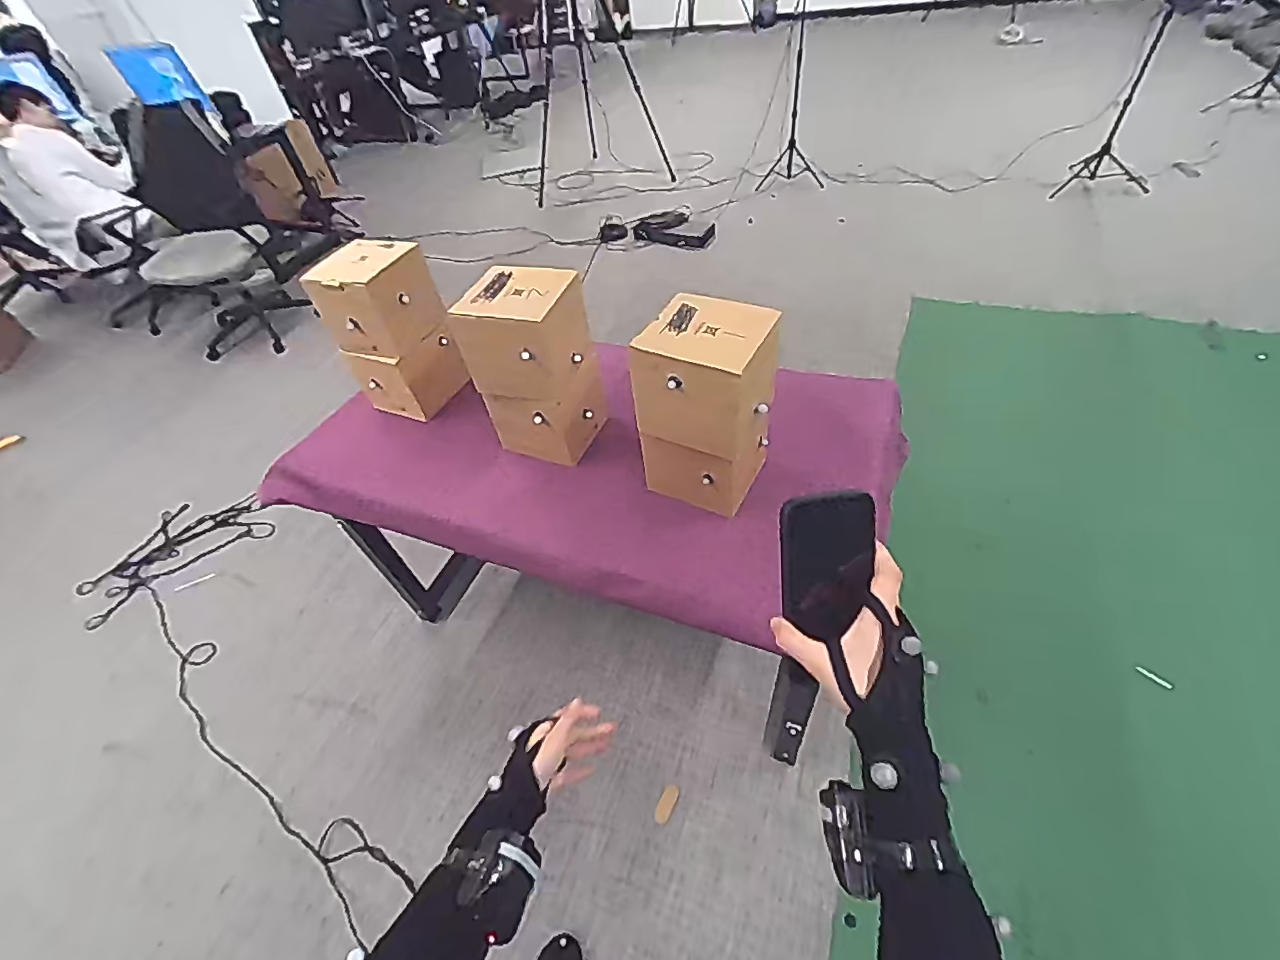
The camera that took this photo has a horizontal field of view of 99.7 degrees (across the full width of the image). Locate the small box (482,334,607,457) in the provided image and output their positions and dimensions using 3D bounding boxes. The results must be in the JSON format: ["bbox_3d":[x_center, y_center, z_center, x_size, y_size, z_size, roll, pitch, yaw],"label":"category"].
[{"bbox_3d":[-0.183,-0.170,1.103,0.179,0.176,0.168,15,52,20],"label":"small box"}]

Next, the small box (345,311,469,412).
[{"bbox_3d":[-0.527,-0.281,1.252,0.168,0.176,0.179,16,52,21],"label":"small box"}]

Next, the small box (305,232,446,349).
[{"bbox_3d":[-0.540,-0.396,1.136,0.168,0.176,0.179,12,52,17],"label":"small box"}]

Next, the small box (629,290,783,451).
[{"bbox_3d":[0.103,-0.170,0.845,0.179,0.176,0.168,21,54,23],"label":"small box"}]

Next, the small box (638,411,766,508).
[{"bbox_3d":[0.119,-0.074,0.978,0.179,0.176,0.168,21,54,24],"label":"small box"}]
